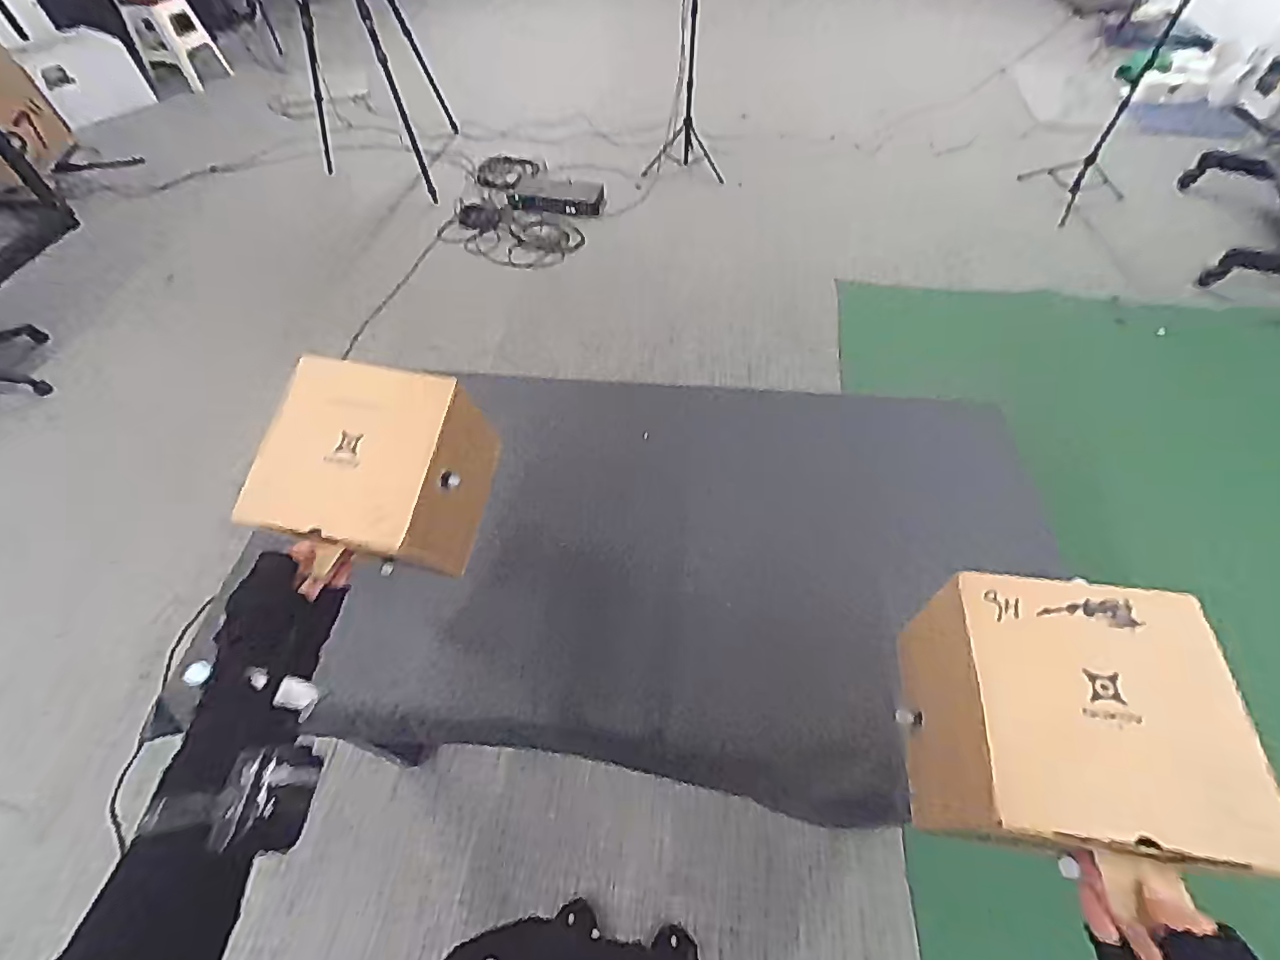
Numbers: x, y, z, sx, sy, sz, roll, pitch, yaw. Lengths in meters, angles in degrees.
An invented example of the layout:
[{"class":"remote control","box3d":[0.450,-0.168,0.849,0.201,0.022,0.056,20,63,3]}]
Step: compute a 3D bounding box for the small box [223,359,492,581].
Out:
[{"class":"small box","box3d":[-0.273,0.000,0.574,0.168,0.176,0.179,10,71,4]}]
